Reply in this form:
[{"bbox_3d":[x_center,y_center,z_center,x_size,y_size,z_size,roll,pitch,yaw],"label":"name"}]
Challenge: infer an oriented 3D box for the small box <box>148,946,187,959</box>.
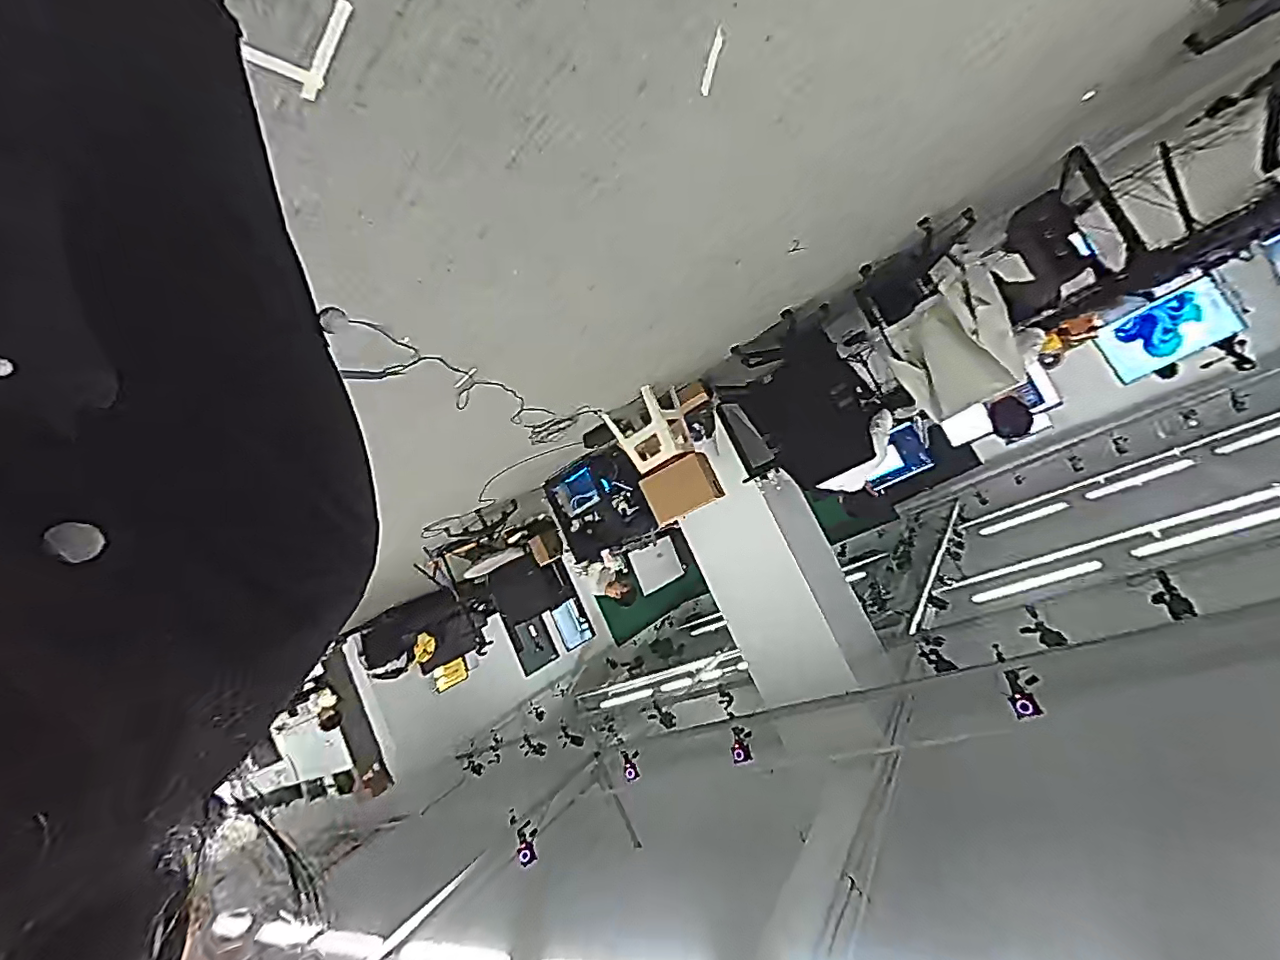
[{"bbox_3d":[-1.438,1.515,1.576,0.168,0.176,0.179,-30,172,32],"label":"small box"}]
